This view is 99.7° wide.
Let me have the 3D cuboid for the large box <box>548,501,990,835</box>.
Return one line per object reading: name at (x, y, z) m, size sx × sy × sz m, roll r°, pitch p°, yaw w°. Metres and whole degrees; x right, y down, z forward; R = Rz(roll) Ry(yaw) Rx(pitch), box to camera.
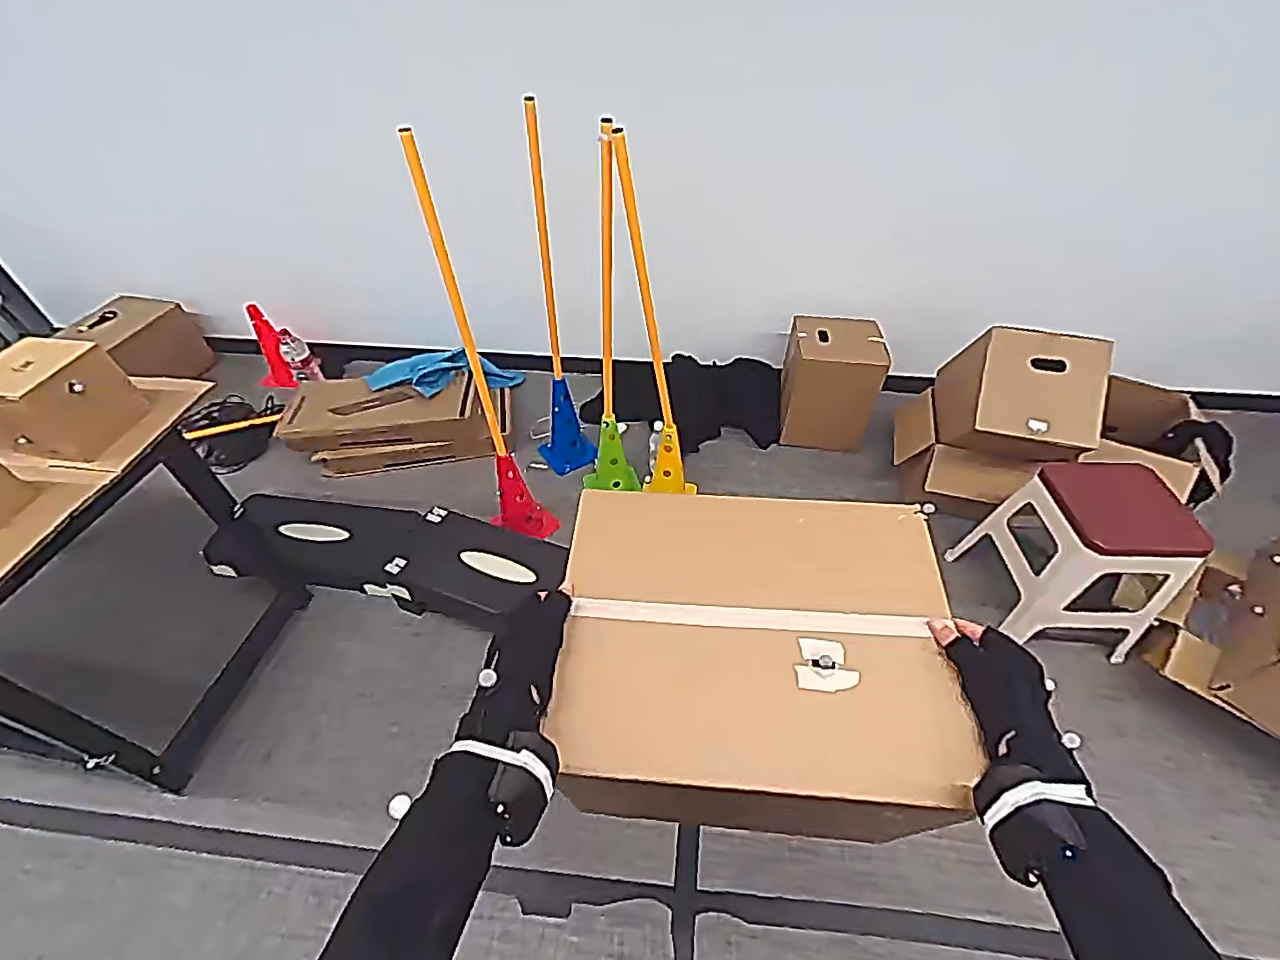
large box at (0.124, 0.244, 0.691) m, size 0.408 × 0.320 × 0.320 m, roll 2°, pitch 53°, yaw 4°
